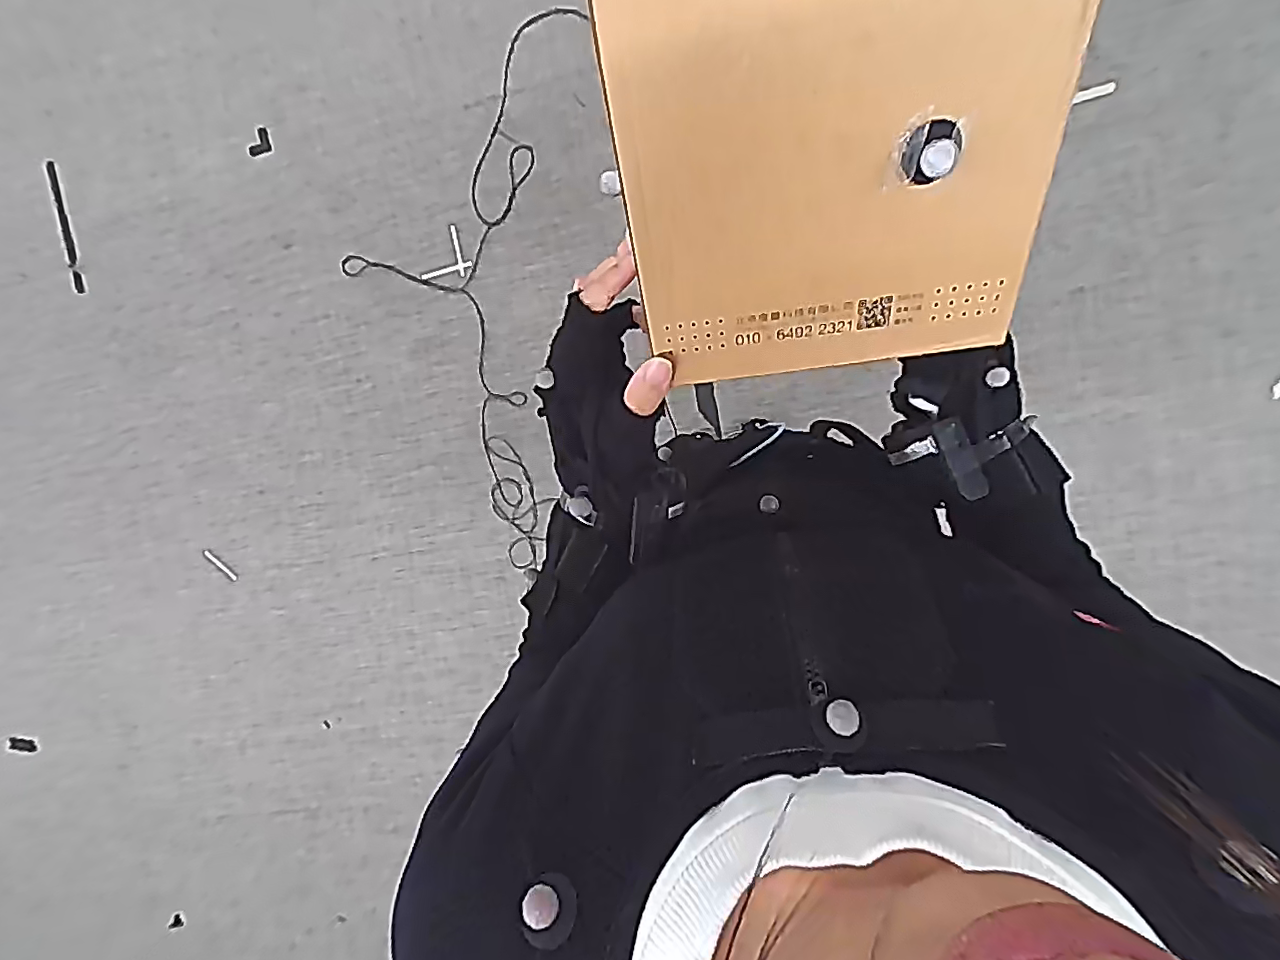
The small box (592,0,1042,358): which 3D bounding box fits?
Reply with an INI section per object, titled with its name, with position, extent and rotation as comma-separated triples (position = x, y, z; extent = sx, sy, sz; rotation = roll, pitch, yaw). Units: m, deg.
[small box]
position = 0.083, -0.178, 0.294
extent = 0.168, 0.179, 0.176
rotation = -5, 130, 10
